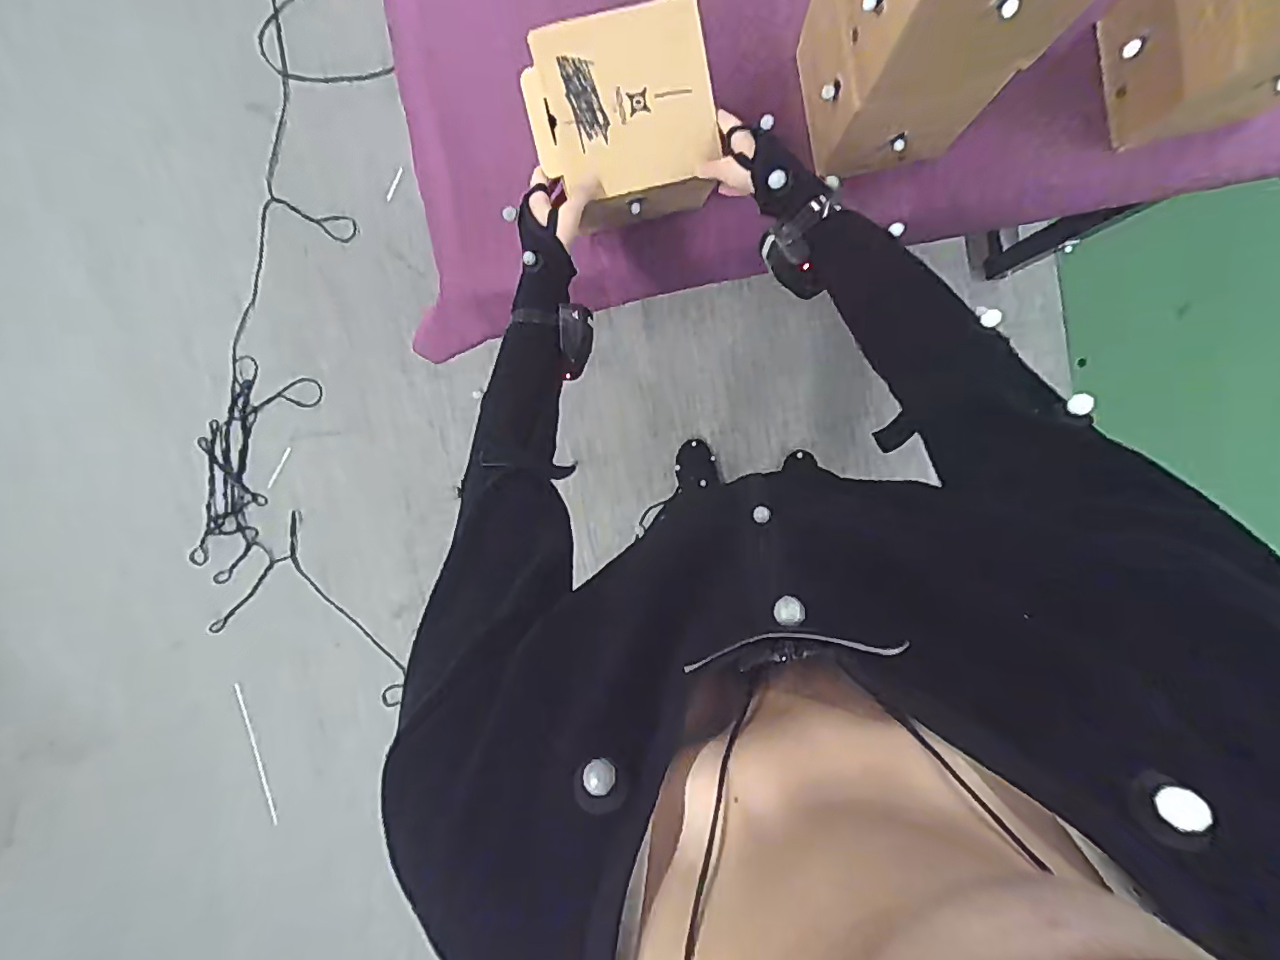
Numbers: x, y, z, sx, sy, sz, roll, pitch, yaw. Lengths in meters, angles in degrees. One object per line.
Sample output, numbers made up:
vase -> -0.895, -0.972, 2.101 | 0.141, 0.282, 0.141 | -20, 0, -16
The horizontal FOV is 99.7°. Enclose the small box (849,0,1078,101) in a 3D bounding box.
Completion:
small box -> 0.291, -0.478, 0.475 | 0.179, 0.176, 0.168 | -11, 94, 6

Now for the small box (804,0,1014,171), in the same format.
small box -> 0.301, -0.496, 0.638 | 0.168, 0.176, 0.179 | -10, 93, 7

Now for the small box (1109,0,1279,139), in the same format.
small box -> 0.679, -0.520, 0.597 | 0.179, 0.176, 0.168 | -12, 95, 8
